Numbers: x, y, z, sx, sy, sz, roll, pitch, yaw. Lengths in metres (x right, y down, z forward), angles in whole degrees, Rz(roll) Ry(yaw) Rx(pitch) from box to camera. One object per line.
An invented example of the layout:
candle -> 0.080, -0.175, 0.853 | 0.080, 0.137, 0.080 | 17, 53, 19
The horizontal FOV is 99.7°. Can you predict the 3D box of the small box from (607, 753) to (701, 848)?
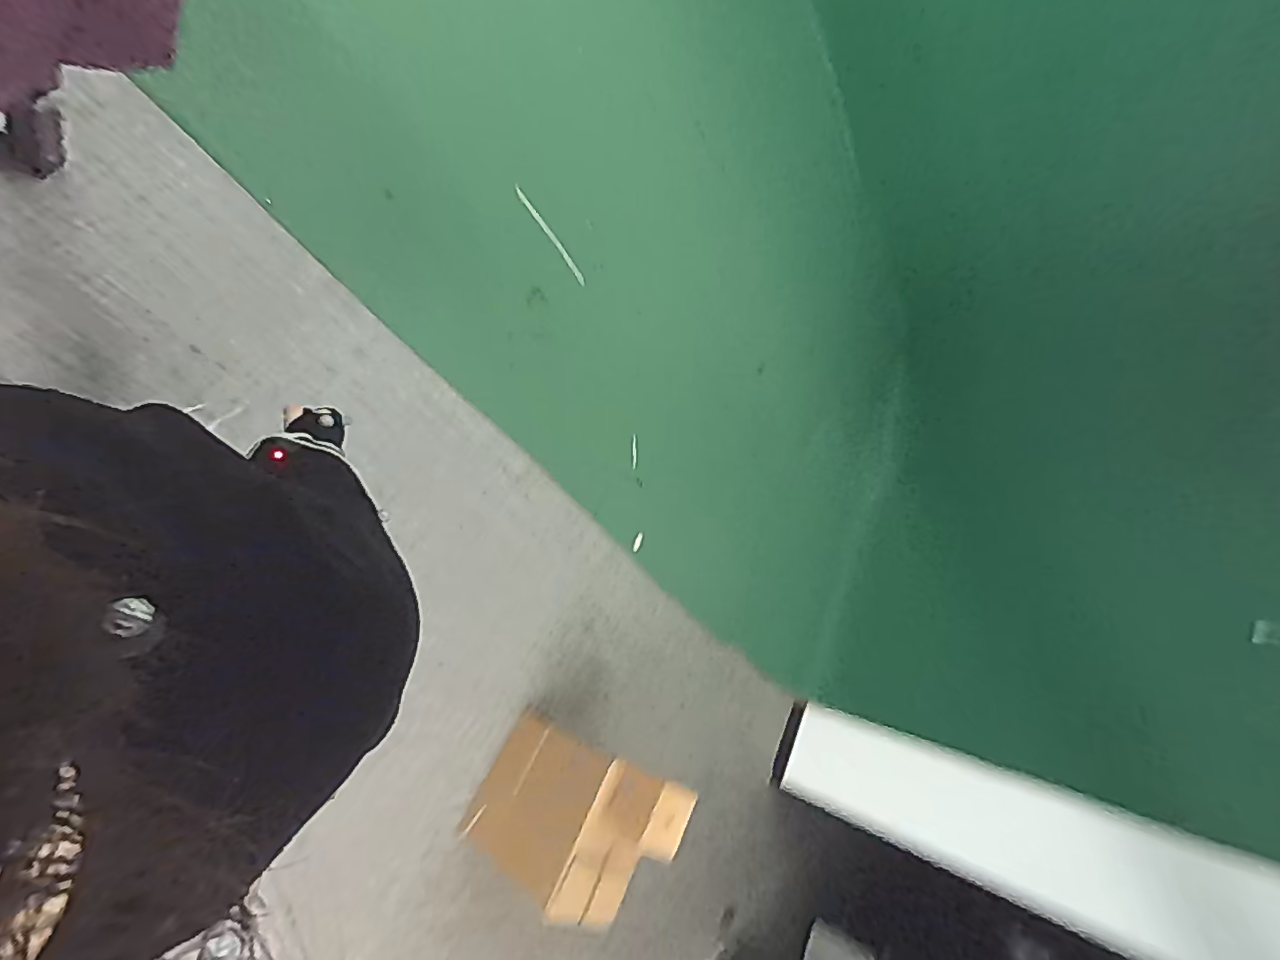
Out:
small box -> 0.039, 0.919, 1.561 | 0.179, 0.176, 0.168 | 45, 63, -36
